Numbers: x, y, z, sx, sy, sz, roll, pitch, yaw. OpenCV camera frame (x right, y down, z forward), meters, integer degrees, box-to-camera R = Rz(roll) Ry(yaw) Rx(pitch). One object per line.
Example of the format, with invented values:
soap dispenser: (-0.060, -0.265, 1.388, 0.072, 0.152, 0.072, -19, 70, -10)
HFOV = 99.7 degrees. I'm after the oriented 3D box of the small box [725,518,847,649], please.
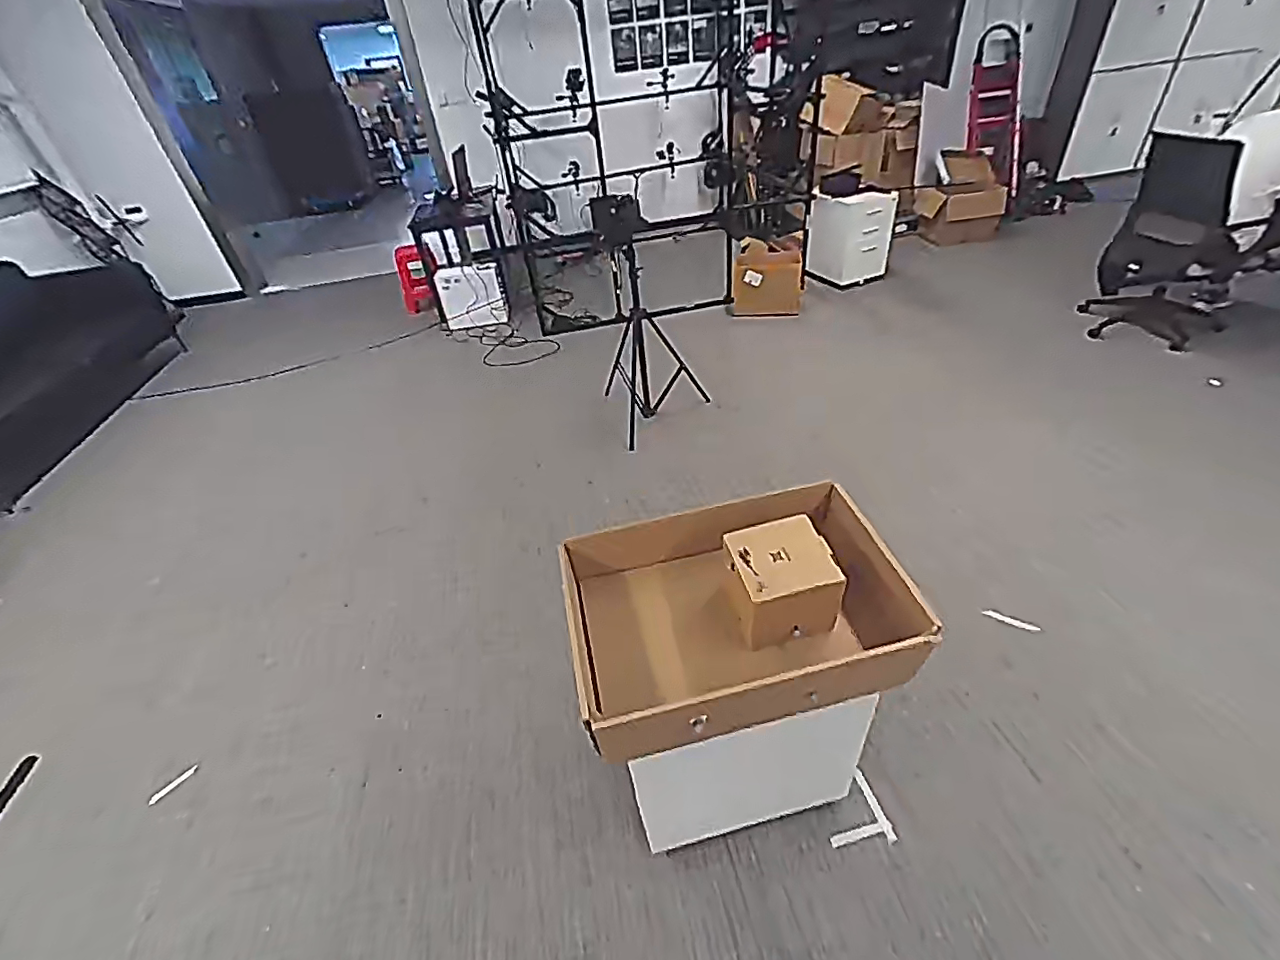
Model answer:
small box: (0.273, 0.204, 1.058, 0.179, 0.176, 0.168, -13, 43, -5)
